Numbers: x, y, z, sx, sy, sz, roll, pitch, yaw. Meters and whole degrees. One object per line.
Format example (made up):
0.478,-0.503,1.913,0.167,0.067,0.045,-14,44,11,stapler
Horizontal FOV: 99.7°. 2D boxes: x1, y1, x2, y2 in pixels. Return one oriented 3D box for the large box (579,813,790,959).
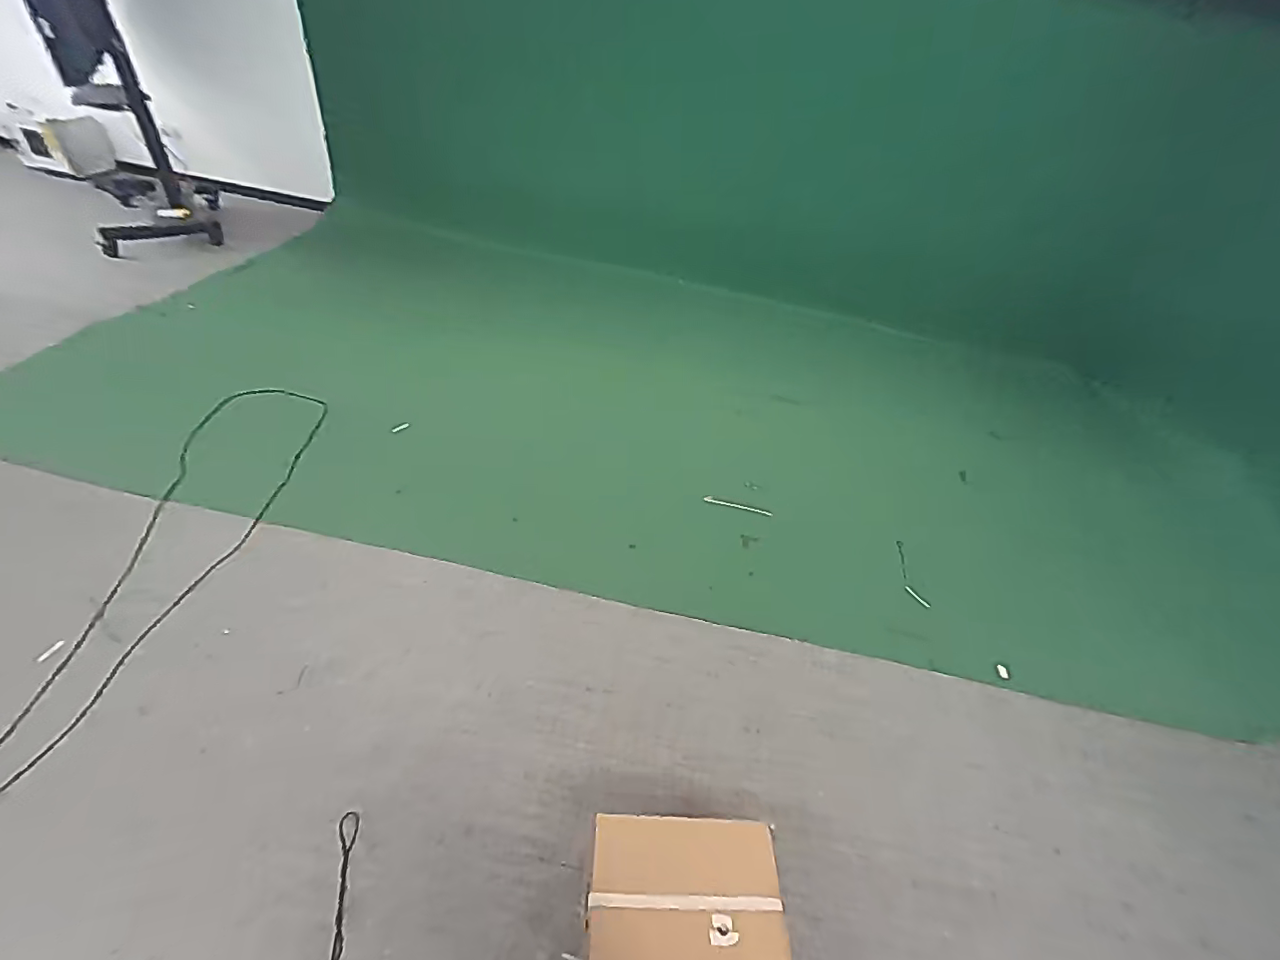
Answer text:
0.075,0.978,1.211,0.408,0.320,0.320,7,41,-6,large box
